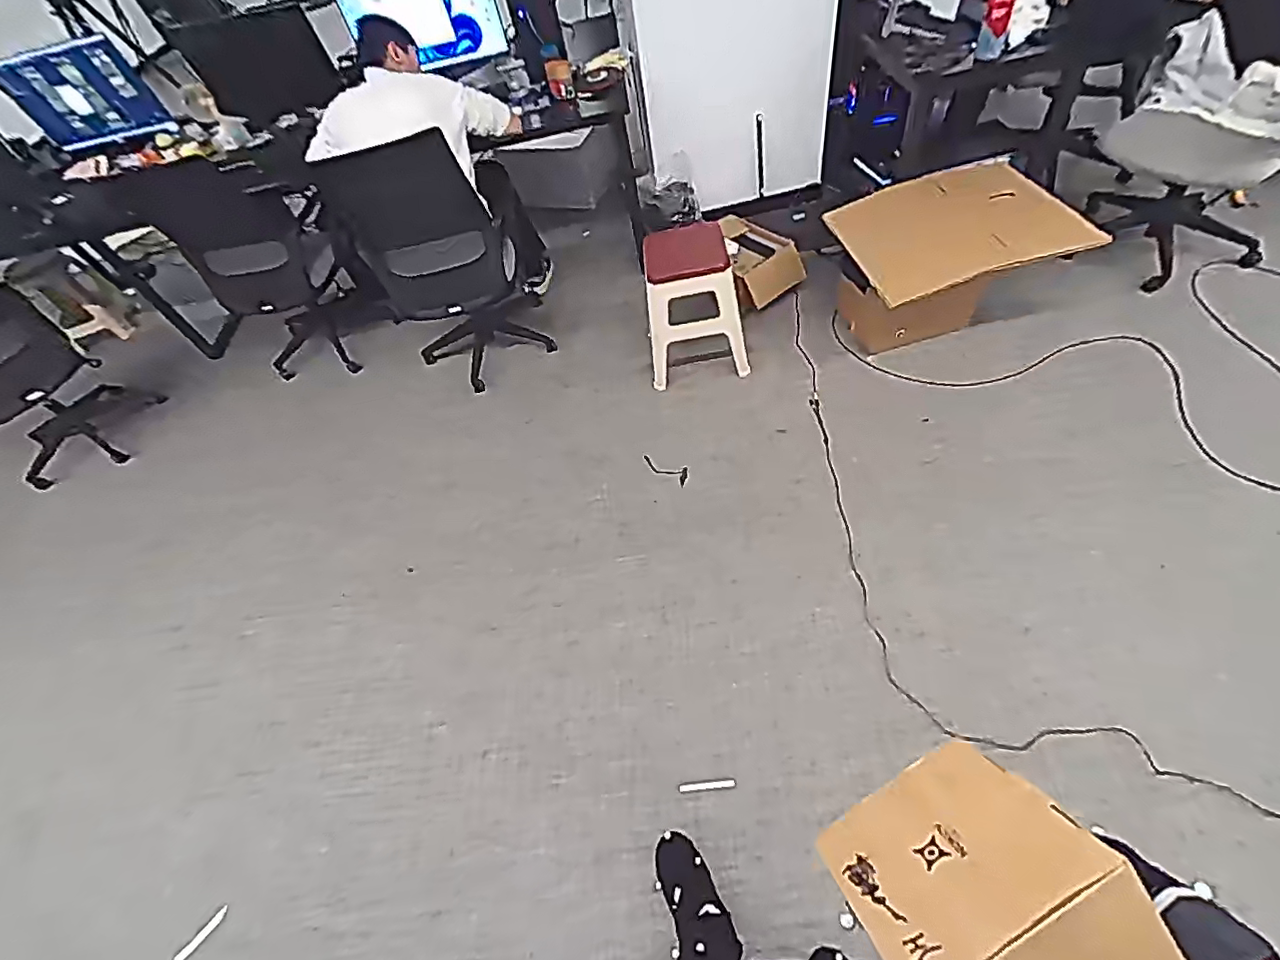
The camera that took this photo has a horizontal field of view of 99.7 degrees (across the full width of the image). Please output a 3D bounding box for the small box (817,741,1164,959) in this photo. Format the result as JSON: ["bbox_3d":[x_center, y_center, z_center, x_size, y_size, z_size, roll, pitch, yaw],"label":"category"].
[{"bbox_3d":[0.291,0.372,0.455,0.179,0.168,0.176,-32,94,-4],"label":"small box"}]
